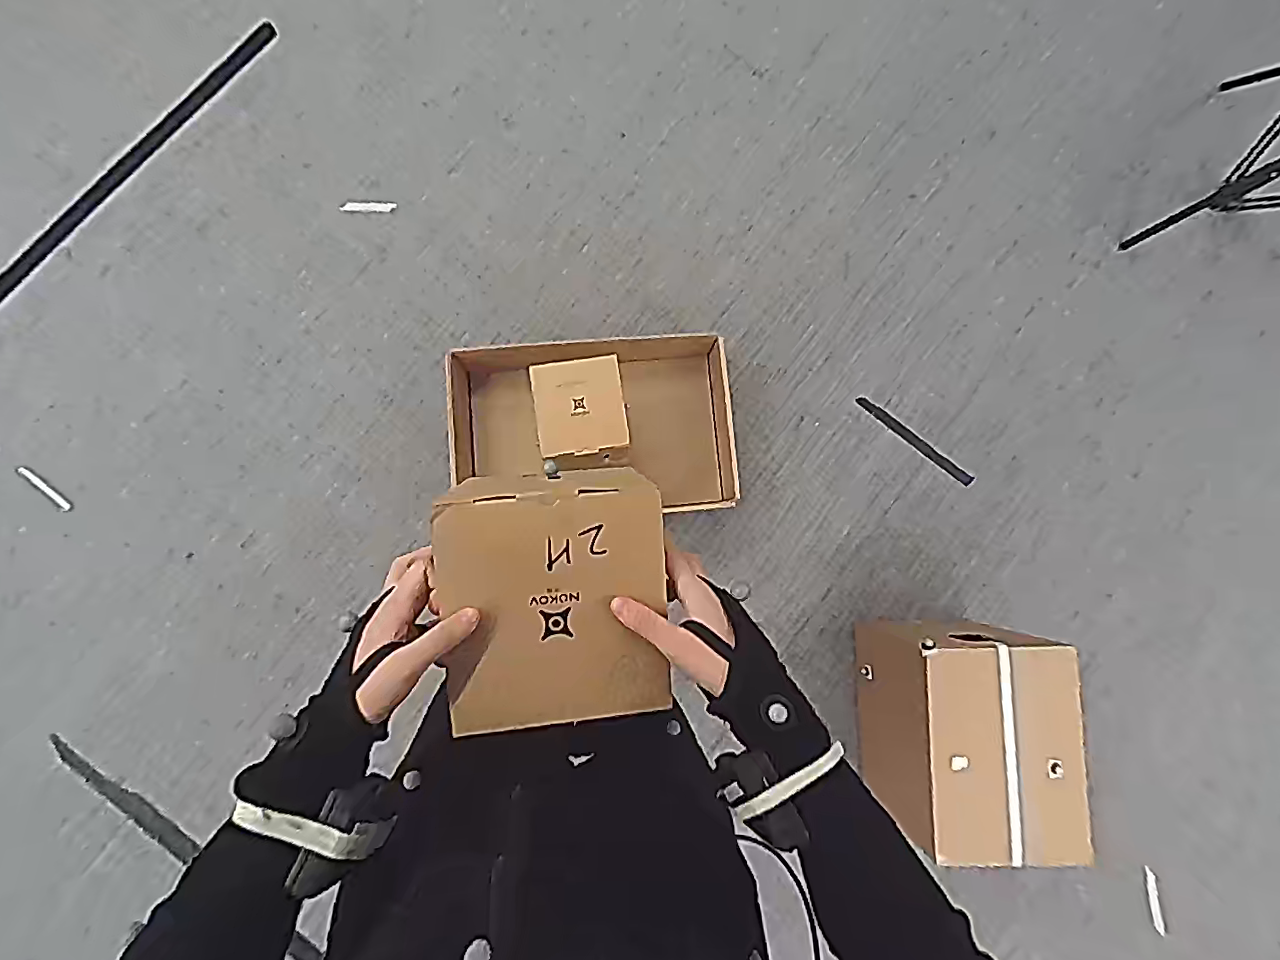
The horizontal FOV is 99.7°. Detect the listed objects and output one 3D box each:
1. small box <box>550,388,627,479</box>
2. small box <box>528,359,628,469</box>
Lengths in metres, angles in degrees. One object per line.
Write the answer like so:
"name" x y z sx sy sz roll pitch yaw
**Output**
"small box" -0.122 -0.103 1.234 0.168 0.176 0.179 -5 85 -4
"small box" -0.119 -0.121 1.073 0.168 0.176 0.179 -9 84 -5
